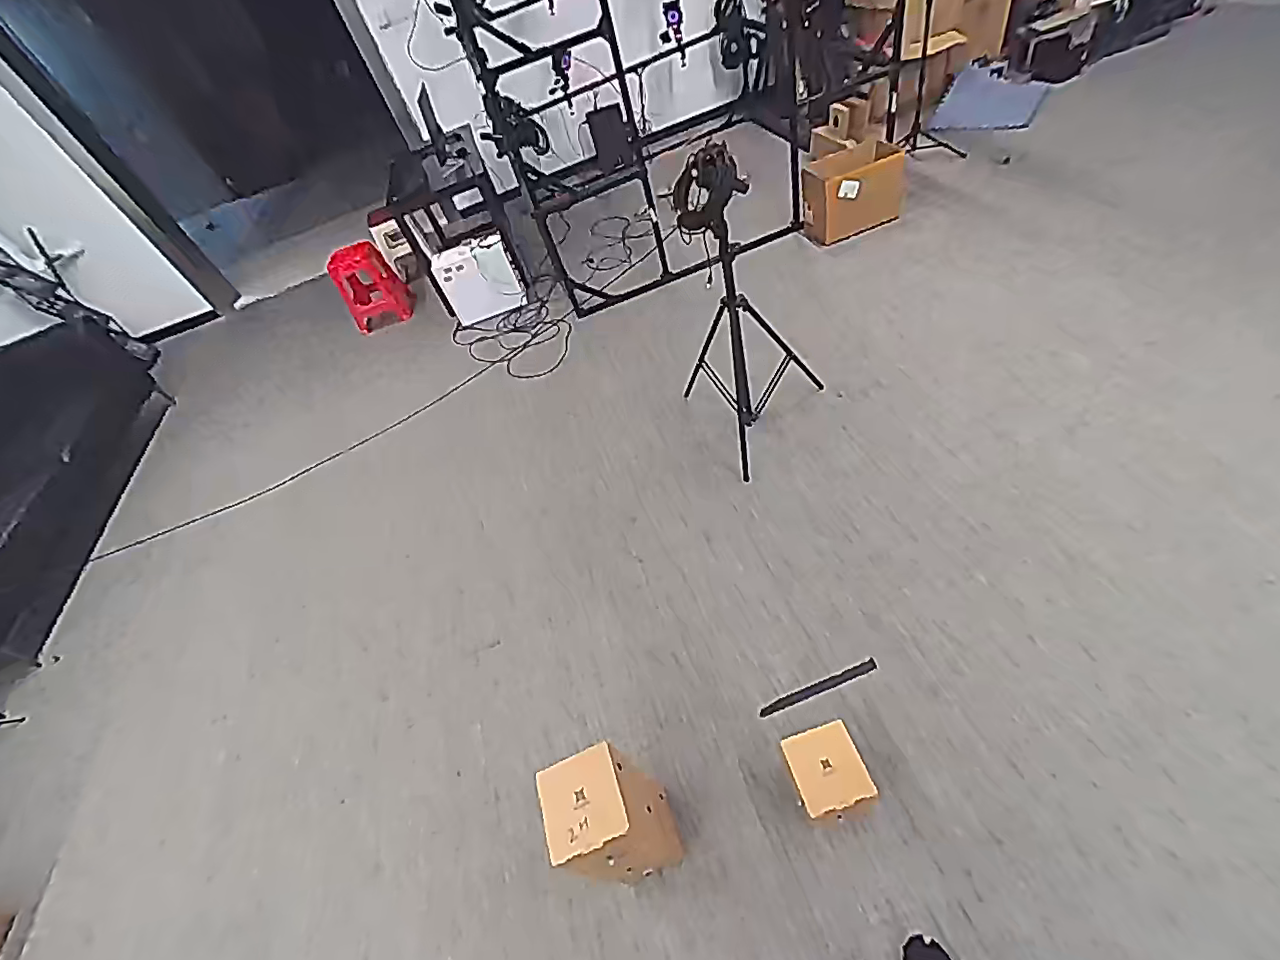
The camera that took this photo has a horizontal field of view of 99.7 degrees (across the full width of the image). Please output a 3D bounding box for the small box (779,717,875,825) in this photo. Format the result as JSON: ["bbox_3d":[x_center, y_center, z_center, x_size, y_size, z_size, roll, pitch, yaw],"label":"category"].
[{"bbox_3d":[0.459,0.727,1.346,0.168,0.176,0.179,-21,47,1],"label":"small box"}]

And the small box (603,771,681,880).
[{"bbox_3d":[-0.011,0.881,1.375,0.168,0.176,0.179,-24,46,-1],"label":"small box"}]

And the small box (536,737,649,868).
[{"bbox_3d":[-0.099,0.677,1.133,0.168,0.176,0.179,-25,47,-1],"label":"small box"}]
